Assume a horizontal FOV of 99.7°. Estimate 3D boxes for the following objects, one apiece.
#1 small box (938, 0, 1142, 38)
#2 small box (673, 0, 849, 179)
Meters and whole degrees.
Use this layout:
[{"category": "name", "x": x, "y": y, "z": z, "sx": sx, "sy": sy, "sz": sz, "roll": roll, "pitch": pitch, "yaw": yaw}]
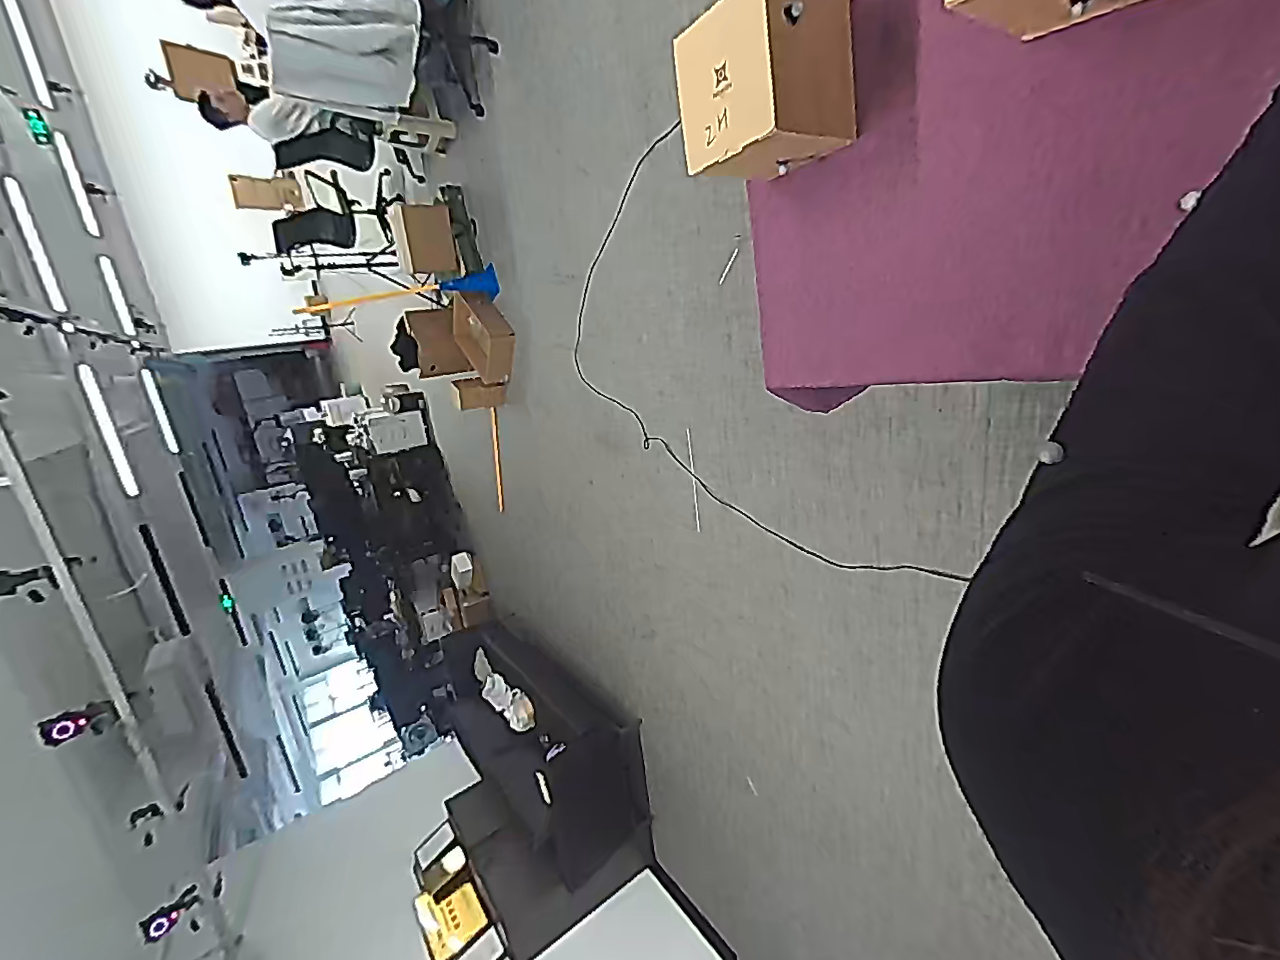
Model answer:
[{"category": "small box", "x": 0.381, "y": -0.514, "z": 0.450, "sx": 0.168, "sy": 0.176, "sz": 0.179, "roll": 22, "pitch": 124, "yaw": 51}, {"category": "small box", "x": 0.169, "y": -0.539, "z": 0.750, "sx": 0.168, "sy": 0.176, "sz": 0.179, "roll": 11, "pitch": 114, "yaw": 54}]
